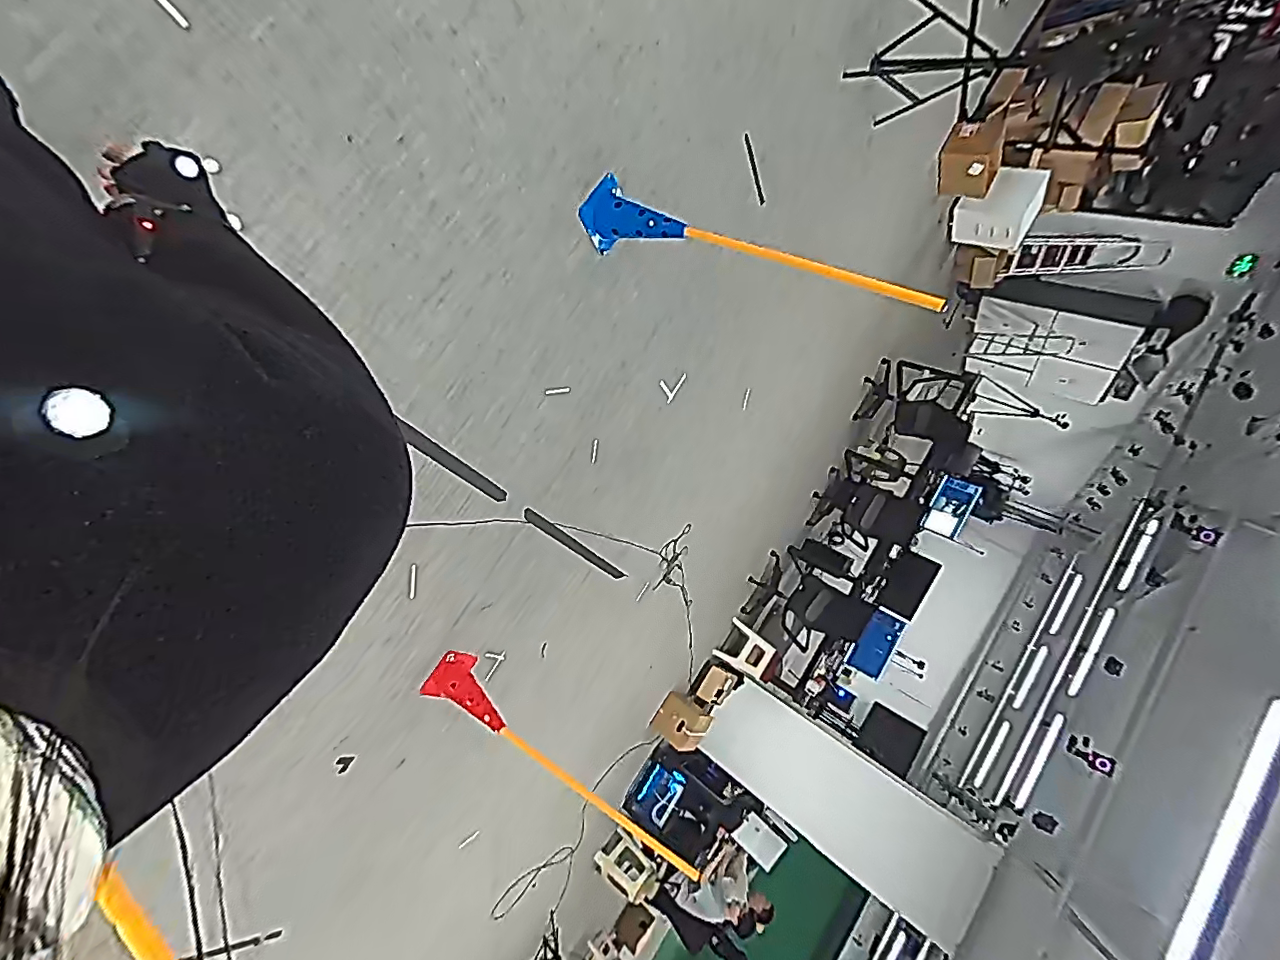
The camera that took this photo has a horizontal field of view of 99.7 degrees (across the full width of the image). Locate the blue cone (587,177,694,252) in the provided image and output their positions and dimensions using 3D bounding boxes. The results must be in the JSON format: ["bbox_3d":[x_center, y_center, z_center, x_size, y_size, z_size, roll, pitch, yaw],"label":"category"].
[{"bbox_3d":[0.020,-0.859,1.796,0.193,0.380,0.192,-54,148,-12],"label":"blue cone"}]
